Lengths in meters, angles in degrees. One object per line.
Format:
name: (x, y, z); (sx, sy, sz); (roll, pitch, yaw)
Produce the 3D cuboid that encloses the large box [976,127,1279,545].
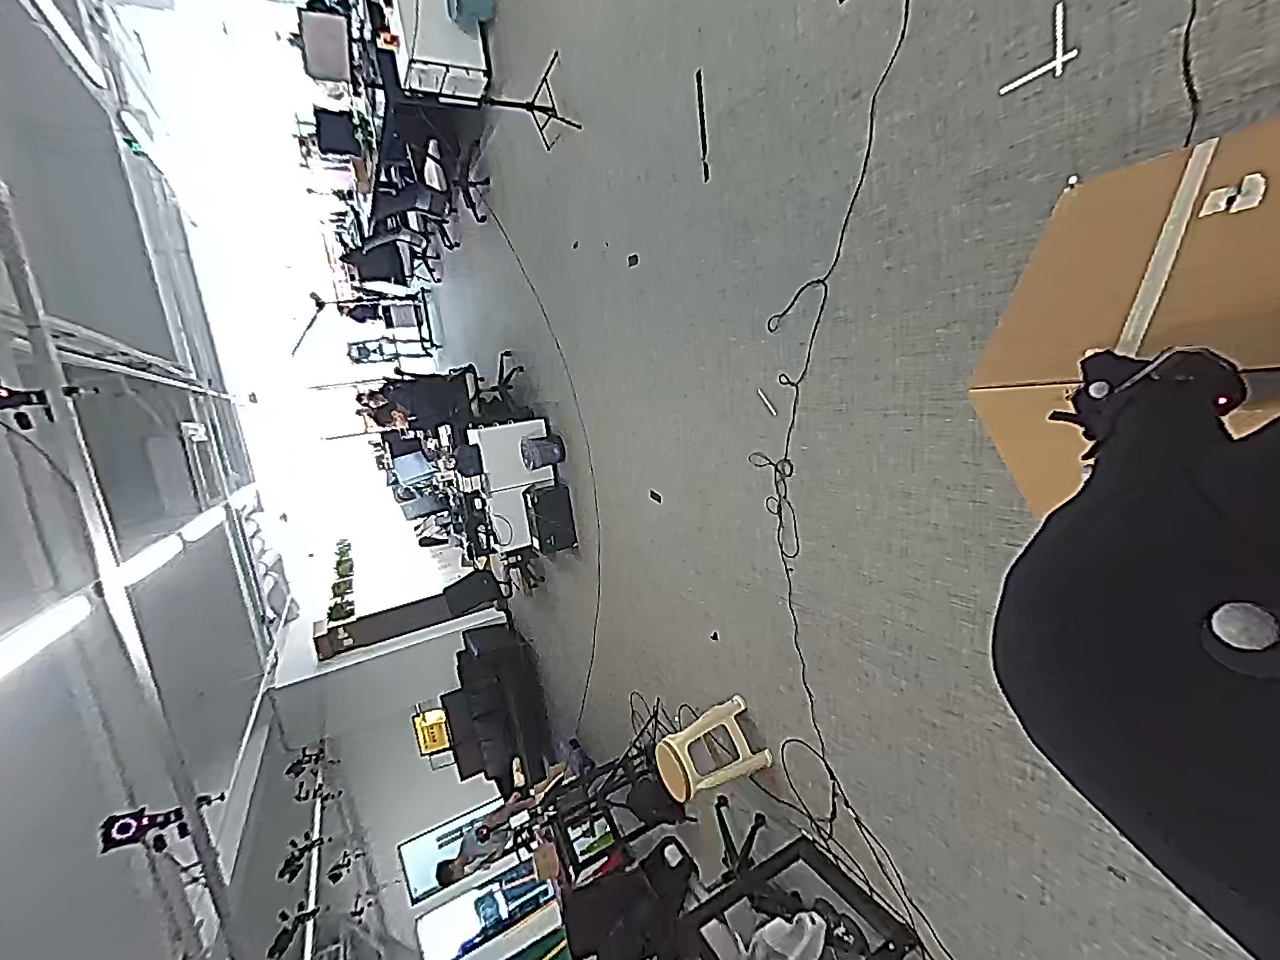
large box: (0.720, -0.171, 0.705); (0.320, 0.408, 0.320); (43, 162, -28)
